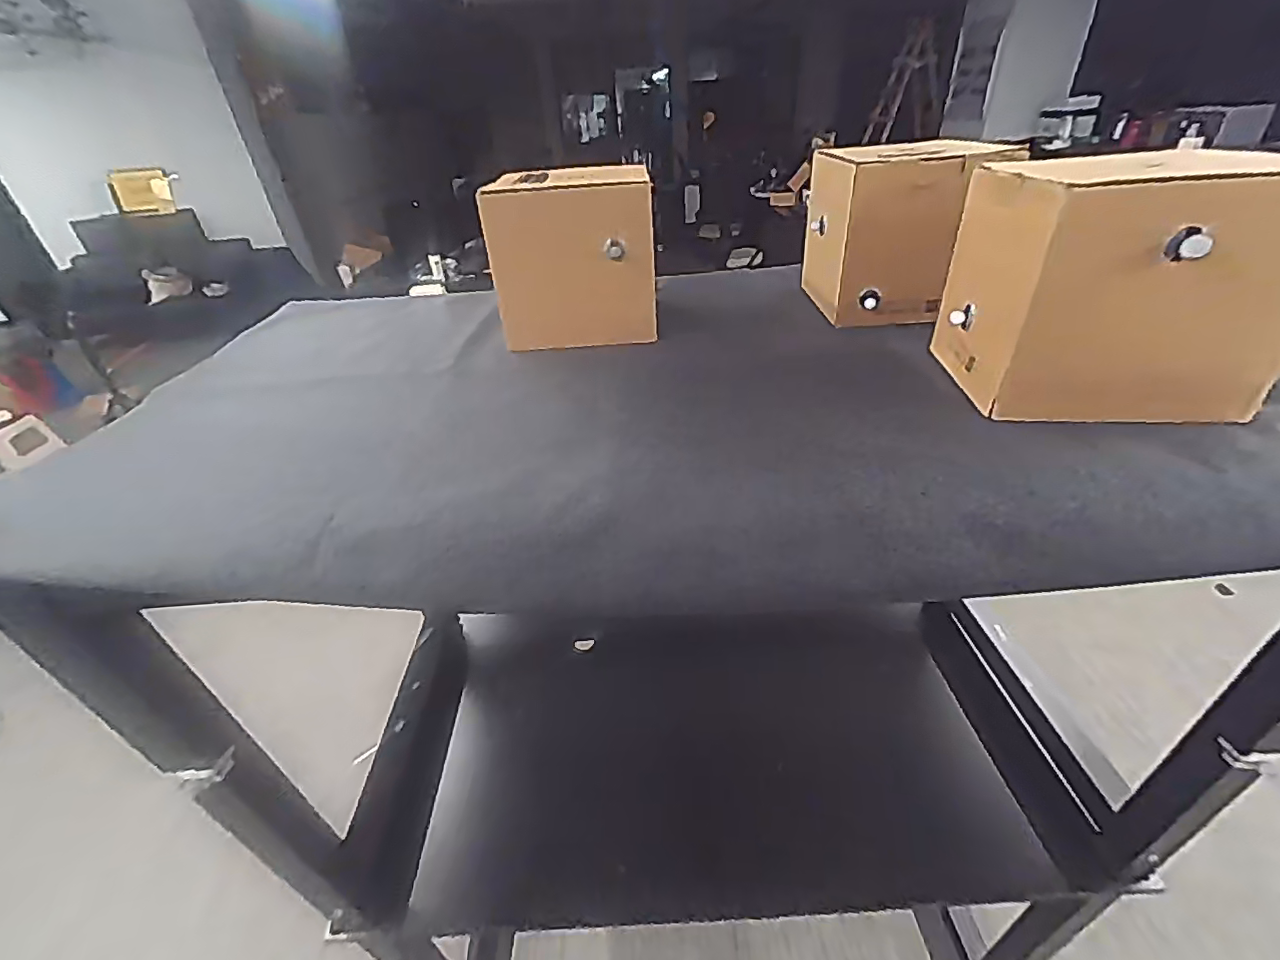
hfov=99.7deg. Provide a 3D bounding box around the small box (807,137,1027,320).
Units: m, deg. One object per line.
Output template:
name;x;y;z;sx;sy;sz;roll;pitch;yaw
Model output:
small box;0.302;-0.293;0.636;0.168;0.176;0.179;-3;34;4

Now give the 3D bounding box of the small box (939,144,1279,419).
small box;0.366;-0.156;0.426;0.179;0.176;0.168;1;33;10
